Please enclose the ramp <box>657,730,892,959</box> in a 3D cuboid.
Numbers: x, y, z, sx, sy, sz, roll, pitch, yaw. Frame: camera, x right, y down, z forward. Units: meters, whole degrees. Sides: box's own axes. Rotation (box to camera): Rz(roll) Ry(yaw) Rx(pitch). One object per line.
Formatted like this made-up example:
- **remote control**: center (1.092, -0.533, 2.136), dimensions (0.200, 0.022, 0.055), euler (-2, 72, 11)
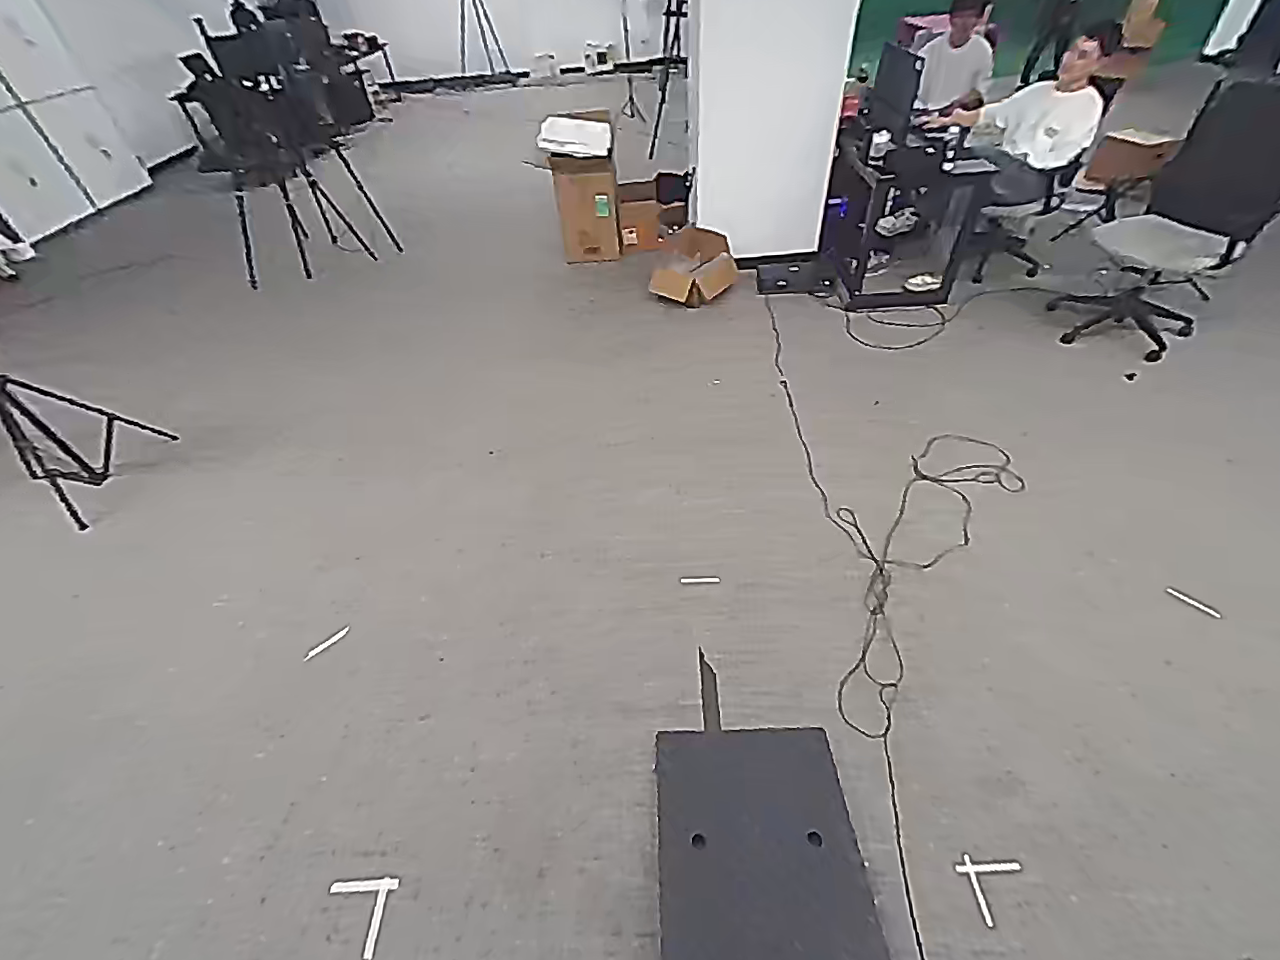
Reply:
- **ramp**: center (0.289, 1.026, 1.169), dimensions (0.509, 0.206, 0.991), euler (-5, 44, 2)
